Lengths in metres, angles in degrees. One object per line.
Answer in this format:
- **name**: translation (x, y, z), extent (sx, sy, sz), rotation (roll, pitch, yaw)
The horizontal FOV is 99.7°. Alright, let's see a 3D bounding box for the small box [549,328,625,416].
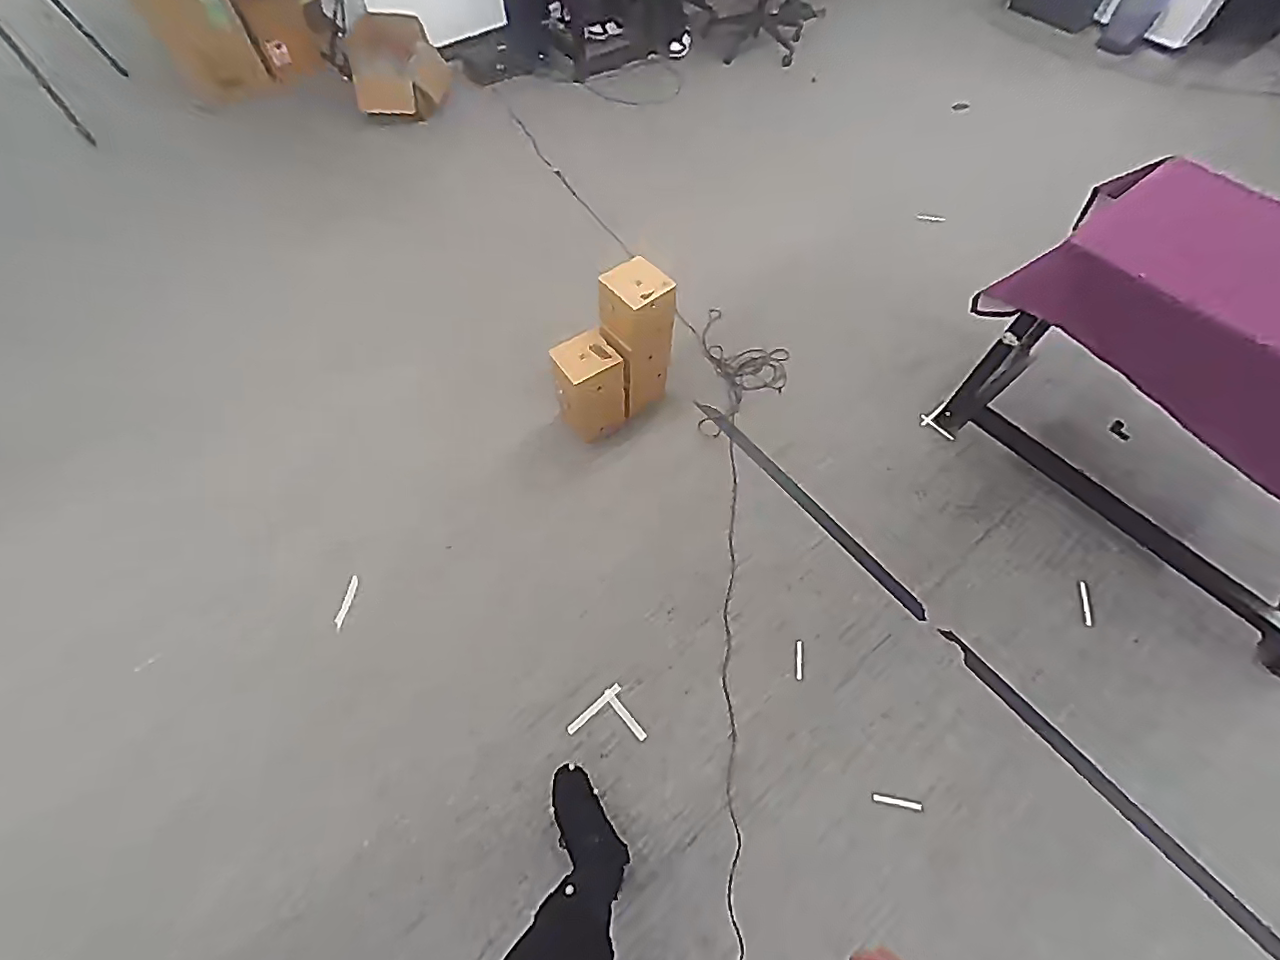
- **small box**: translation (-0.162, -0.335, 1.699), extent (0.179, 0.176, 0.168), rotation (-32, 65, -15)

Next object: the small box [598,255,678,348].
- **small box**: translation (-0.006, -0.533, 1.622), extent (0.168, 0.176, 0.179), rotation (-37, 66, -18)
